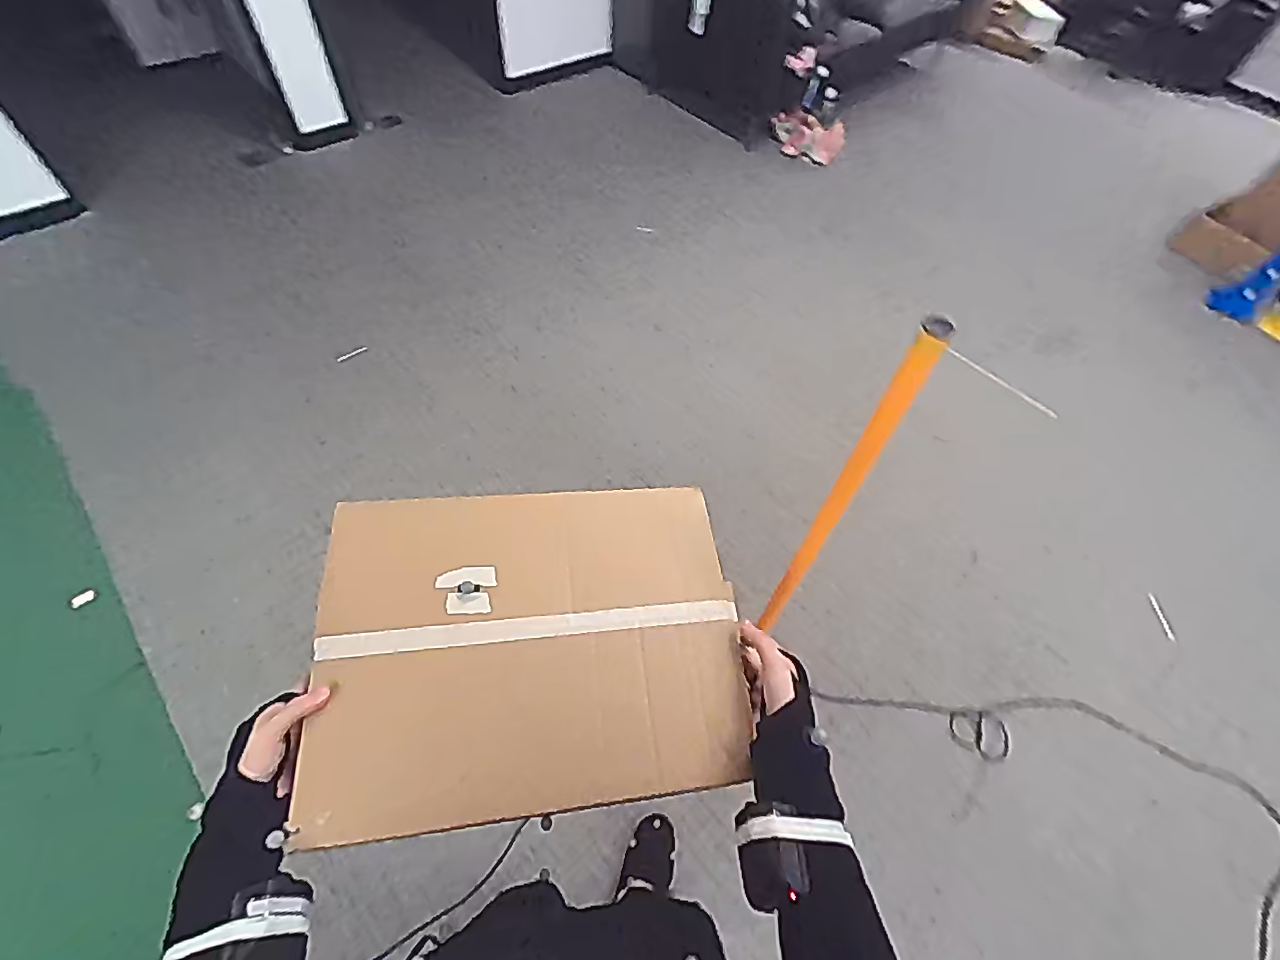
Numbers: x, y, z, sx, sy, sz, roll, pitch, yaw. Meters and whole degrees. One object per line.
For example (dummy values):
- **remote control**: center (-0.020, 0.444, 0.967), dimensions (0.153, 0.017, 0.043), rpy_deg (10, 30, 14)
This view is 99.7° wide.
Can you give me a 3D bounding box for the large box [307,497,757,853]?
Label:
- **large box**: center (-0.120, 0.236, 0.678), dimensions (0.408, 0.320, 0.320), rpy_deg (-2, 60, -11)
